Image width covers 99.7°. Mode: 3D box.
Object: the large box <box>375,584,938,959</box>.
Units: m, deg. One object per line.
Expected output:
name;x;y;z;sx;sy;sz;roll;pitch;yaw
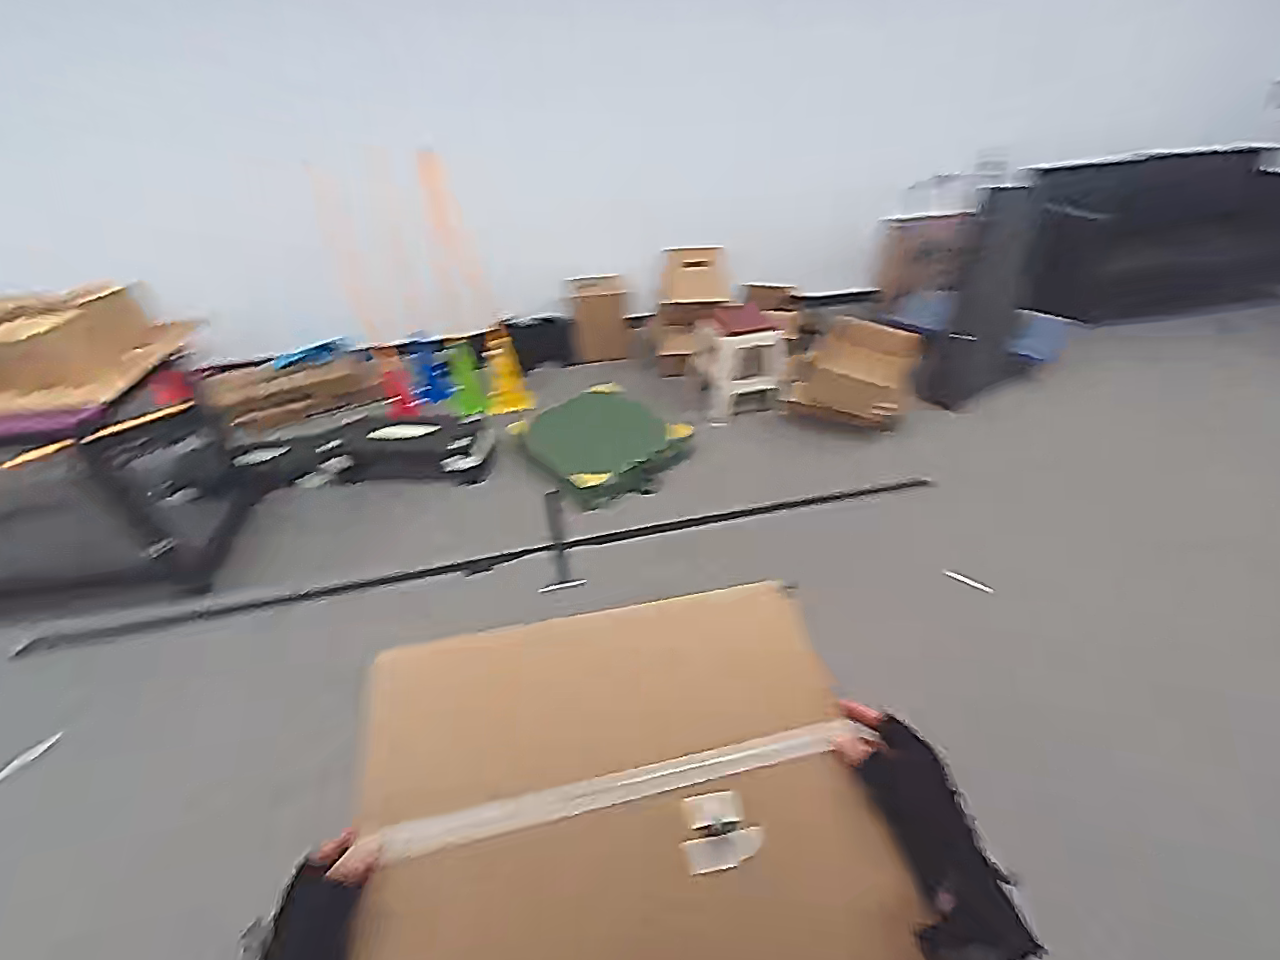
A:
large box;-0.013;0.350;0.562;0.408;0.320;0.320;-7;50;-10
